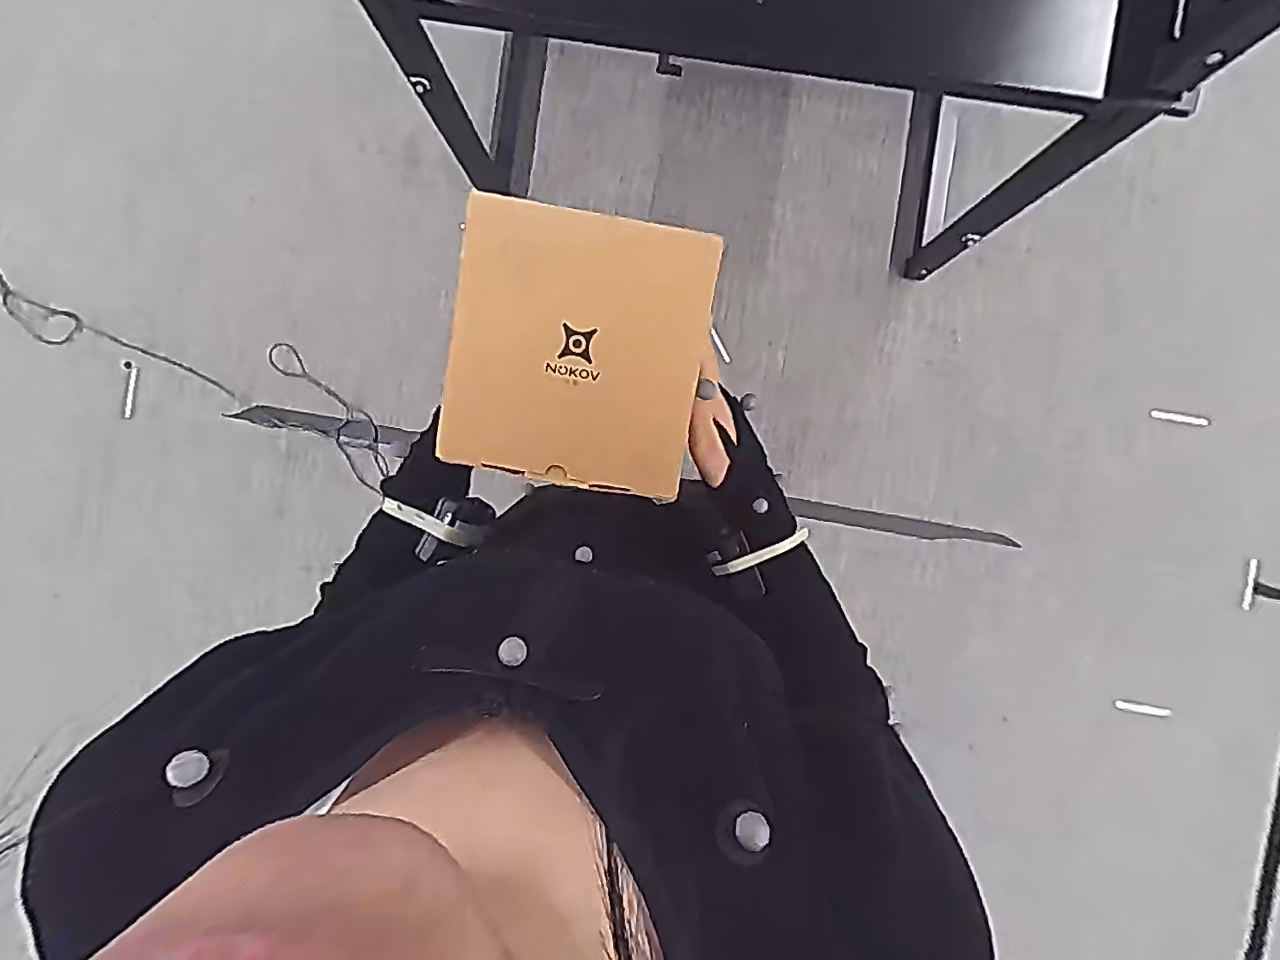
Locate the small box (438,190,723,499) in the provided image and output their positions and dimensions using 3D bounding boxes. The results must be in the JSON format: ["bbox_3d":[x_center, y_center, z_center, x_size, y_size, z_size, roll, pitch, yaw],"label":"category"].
[{"bbox_3d":[-0.041,-0.096,0.433,0.168,0.176,0.179,10,98,-1],"label":"small box"}]
